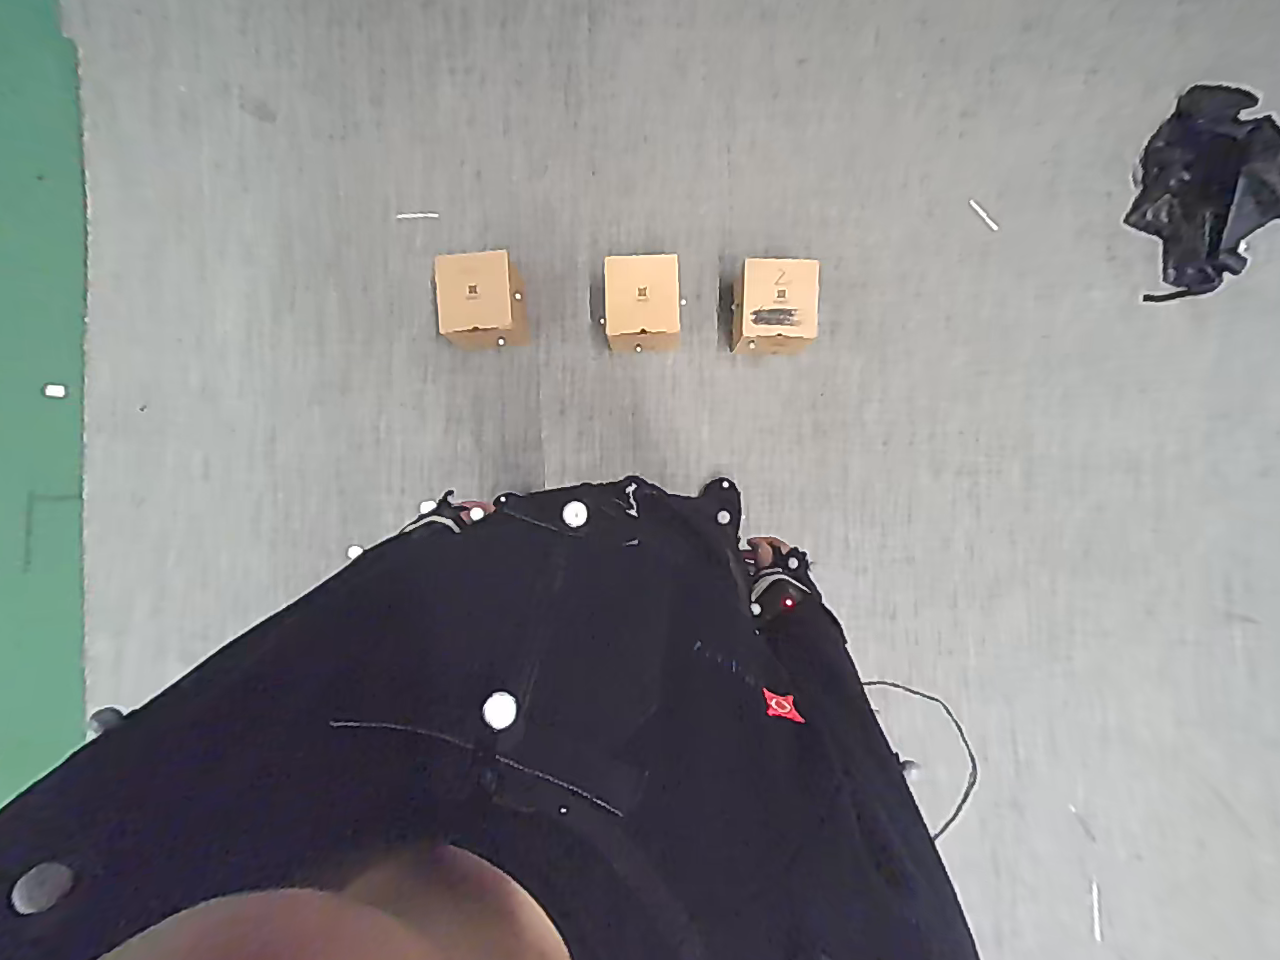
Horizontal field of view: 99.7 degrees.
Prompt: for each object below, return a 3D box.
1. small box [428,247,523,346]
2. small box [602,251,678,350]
[{"bbox_3d":[-0.376,-0.418,1.260,0.168,0.176,0.179,-5,89,0],"label":"small box"},{"bbox_3d":[-0.001,-0.411,1.255,0.168,0.176,0.179,-2,91,0],"label":"small box"}]
